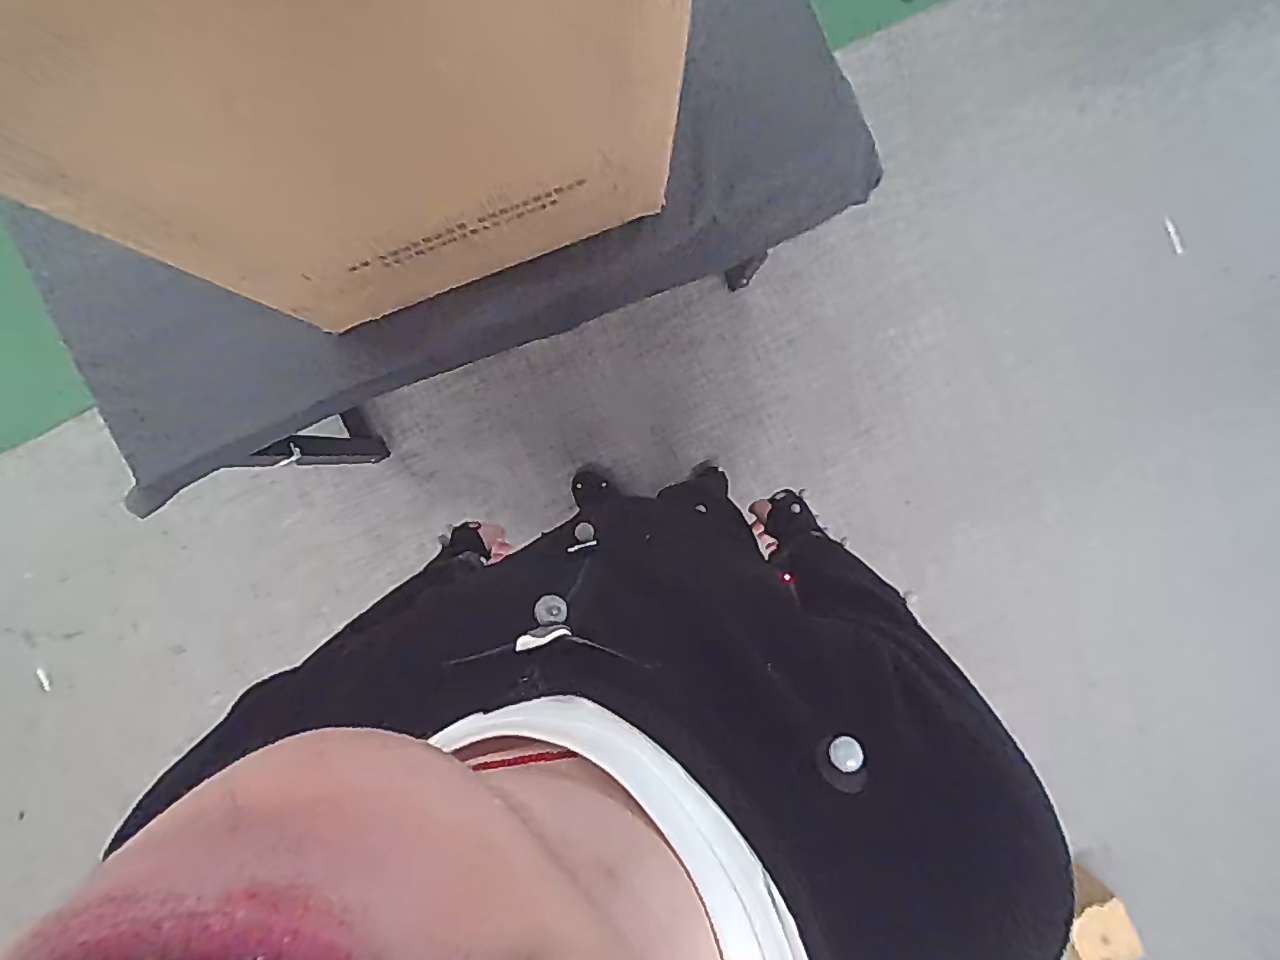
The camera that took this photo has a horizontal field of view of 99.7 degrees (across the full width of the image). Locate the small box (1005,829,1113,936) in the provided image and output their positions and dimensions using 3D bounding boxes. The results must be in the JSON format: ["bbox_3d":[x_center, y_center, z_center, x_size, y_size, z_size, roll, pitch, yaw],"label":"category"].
[{"bbox_3d":[1.254,1.198,1.632,0.168,0.176,0.179,-28,95,-3],"label":"small box"}]
